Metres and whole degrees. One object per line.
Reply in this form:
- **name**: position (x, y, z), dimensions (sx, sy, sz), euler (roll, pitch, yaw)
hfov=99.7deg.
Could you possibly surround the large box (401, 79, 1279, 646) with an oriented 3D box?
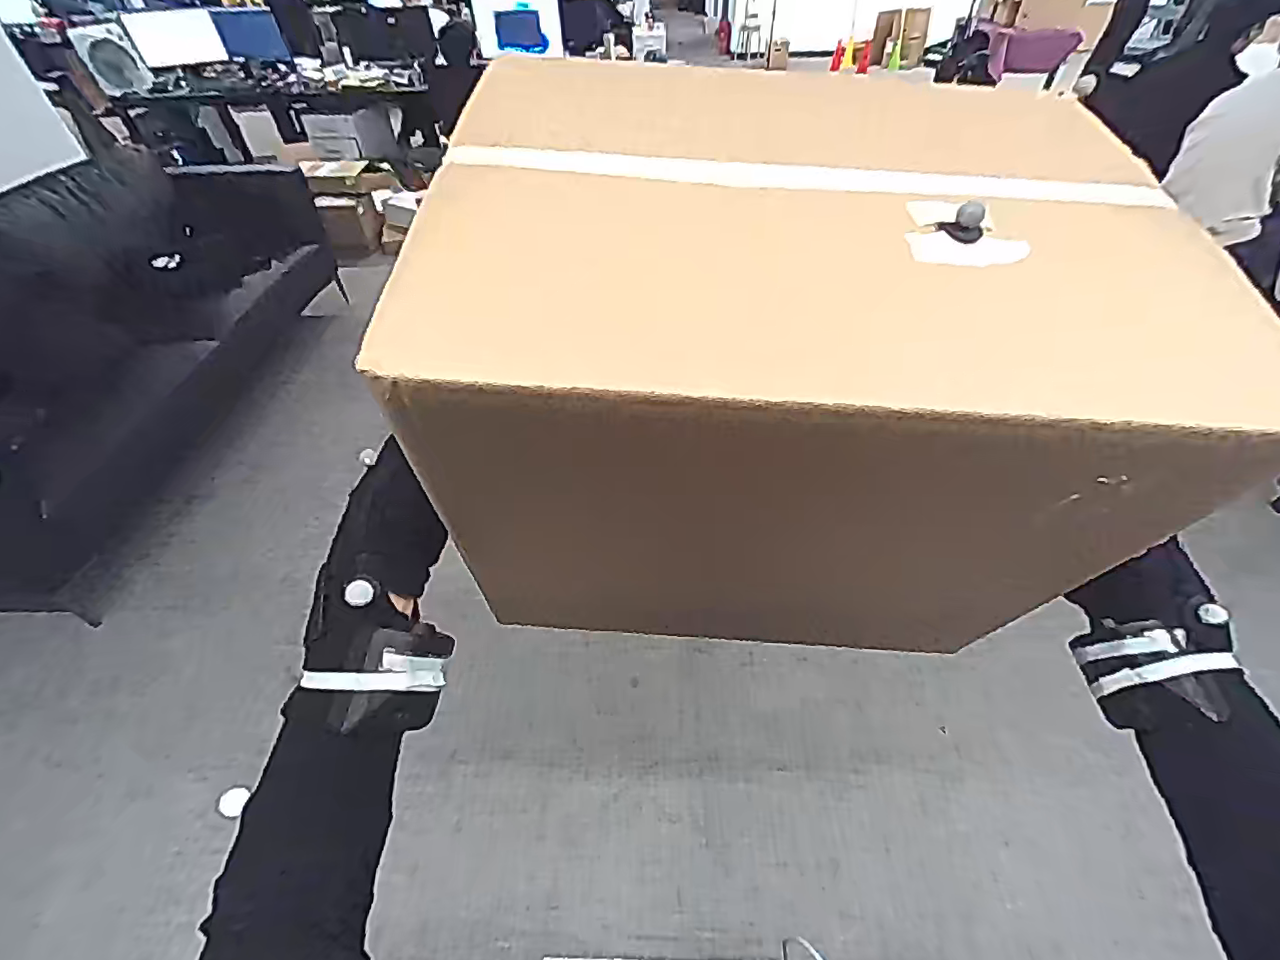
- **large box**: position (0.092, -0.072, 0.437), dimensions (0.408, 0.320, 0.320), euler (4, 57, 0)
